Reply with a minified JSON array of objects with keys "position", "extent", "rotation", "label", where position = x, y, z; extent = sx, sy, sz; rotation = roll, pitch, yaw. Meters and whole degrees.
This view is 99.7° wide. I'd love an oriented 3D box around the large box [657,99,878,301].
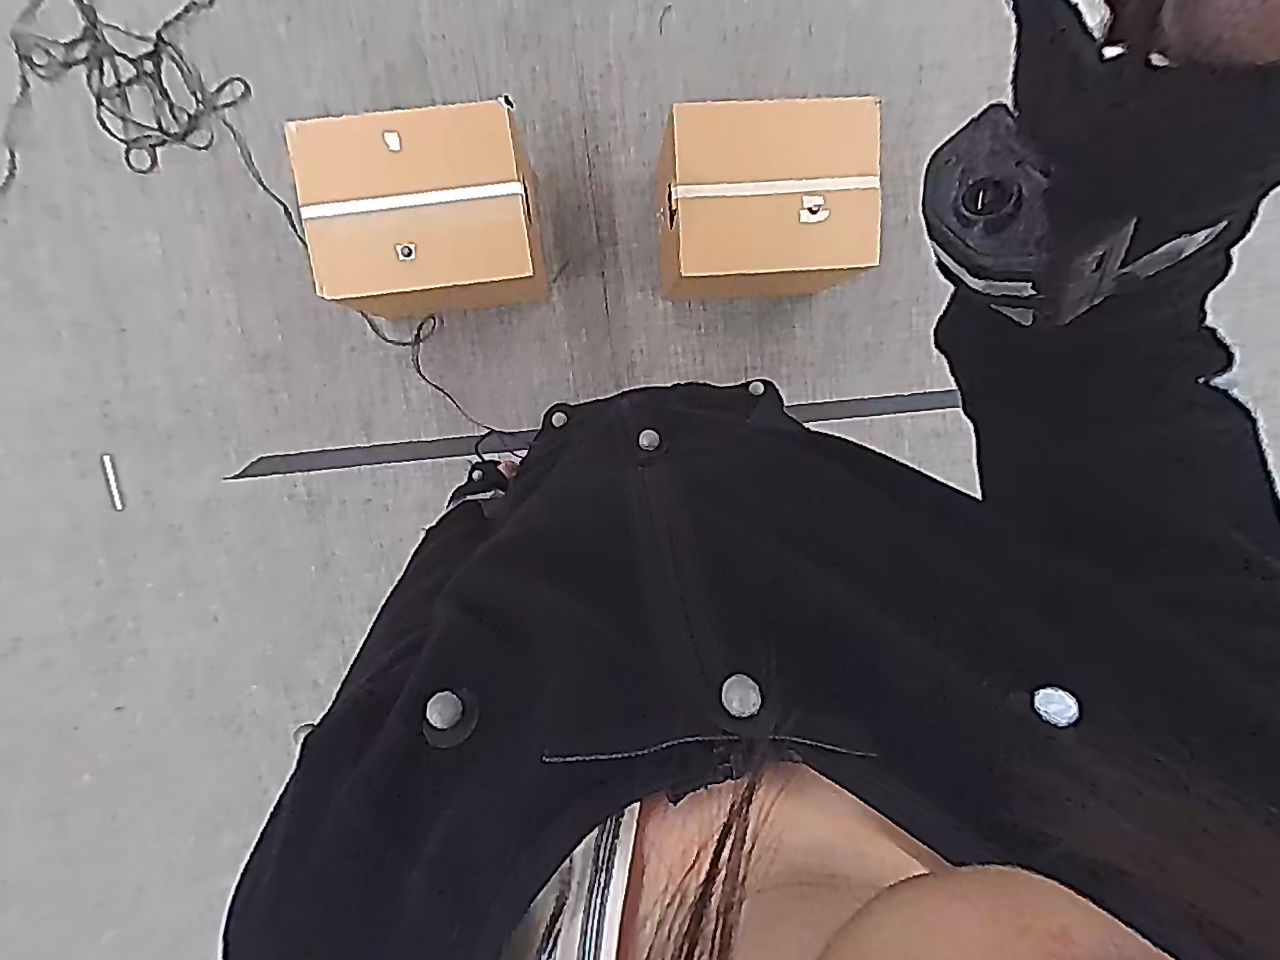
[{"position":[0.260,-0.594,1.204],"extent":[0.408,0.320,0.320],"rotation":[-4,100,-4],"label":"large box"}]
